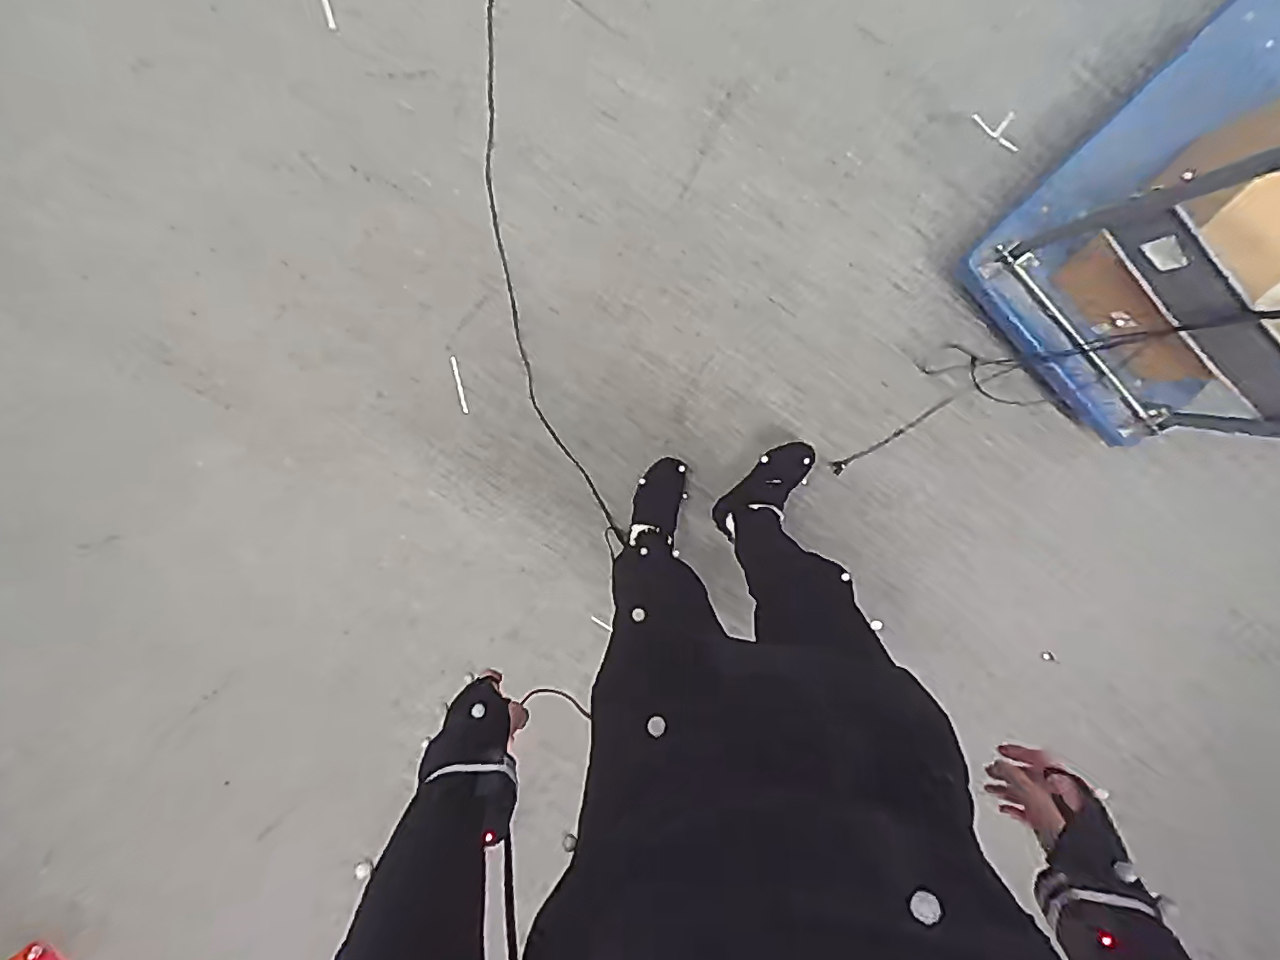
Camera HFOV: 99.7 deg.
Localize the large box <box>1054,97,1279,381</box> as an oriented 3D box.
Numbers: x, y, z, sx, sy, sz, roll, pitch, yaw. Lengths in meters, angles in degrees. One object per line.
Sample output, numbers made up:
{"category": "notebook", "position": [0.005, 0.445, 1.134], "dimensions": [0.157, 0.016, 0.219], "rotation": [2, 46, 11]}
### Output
{"category": "large box", "position": [1.100, -0.432, 0.977], "dimensions": [0.320, 0.320, 0.408], "rotation": [44, 96, -6]}
